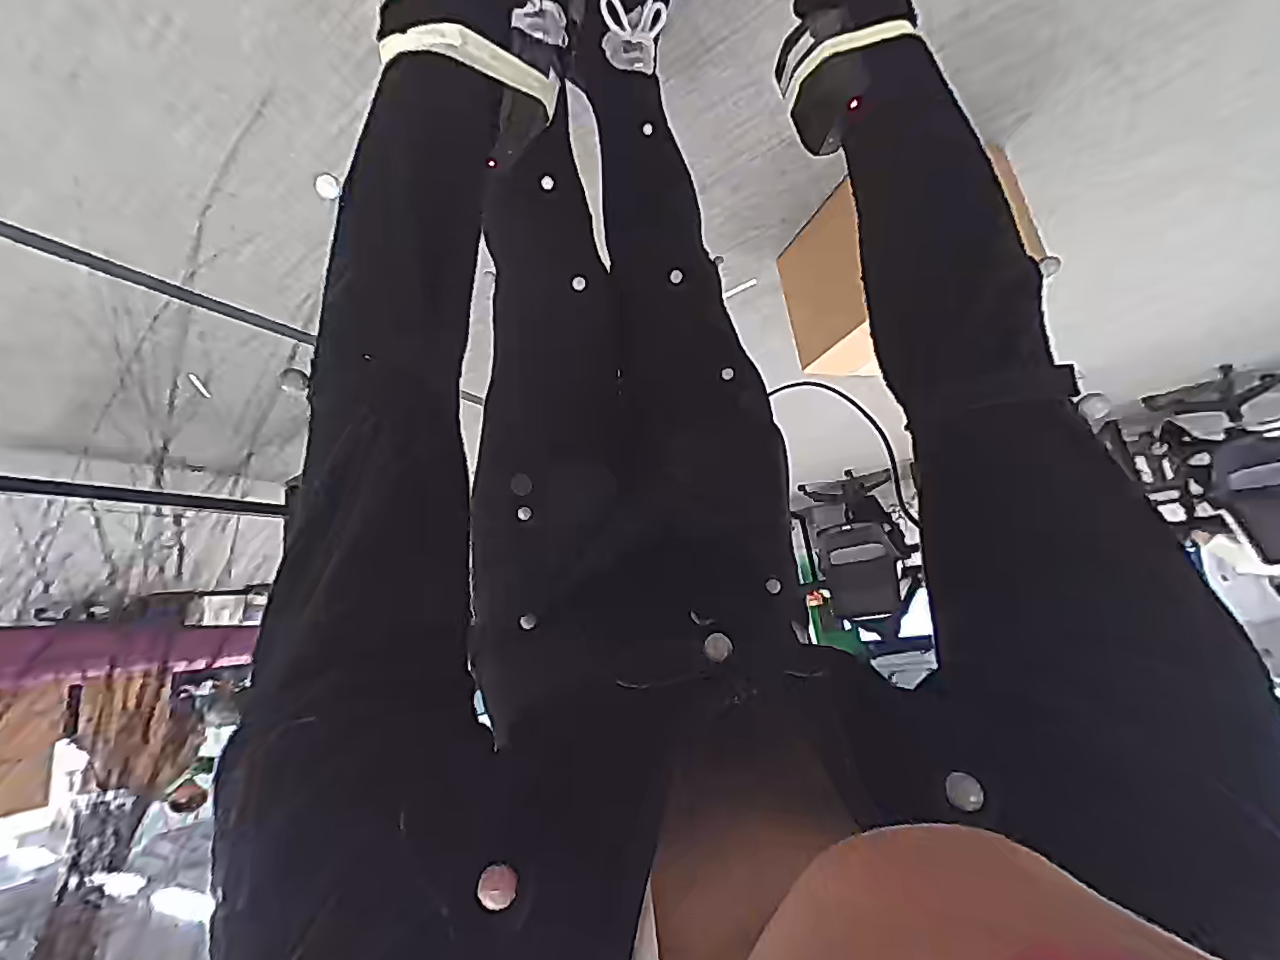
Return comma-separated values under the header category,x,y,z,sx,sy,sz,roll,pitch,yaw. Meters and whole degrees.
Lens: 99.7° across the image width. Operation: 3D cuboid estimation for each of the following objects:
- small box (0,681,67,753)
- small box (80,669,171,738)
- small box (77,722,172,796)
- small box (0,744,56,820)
category,x,y,z,sx,sy,sz,roll,pitch,yaw
small box,-1.737,0.663,1.502,0.179,0.176,0.168,-18,163,28
small box,-1.601,0.691,1.687,0.179,0.176,0.168,-17,163,28
small box,-1.574,0.849,1.659,0.179,0.176,0.168,-18,163,26
small box,-1.720,0.818,1.457,0.179,0.176,0.168,-19,163,30
